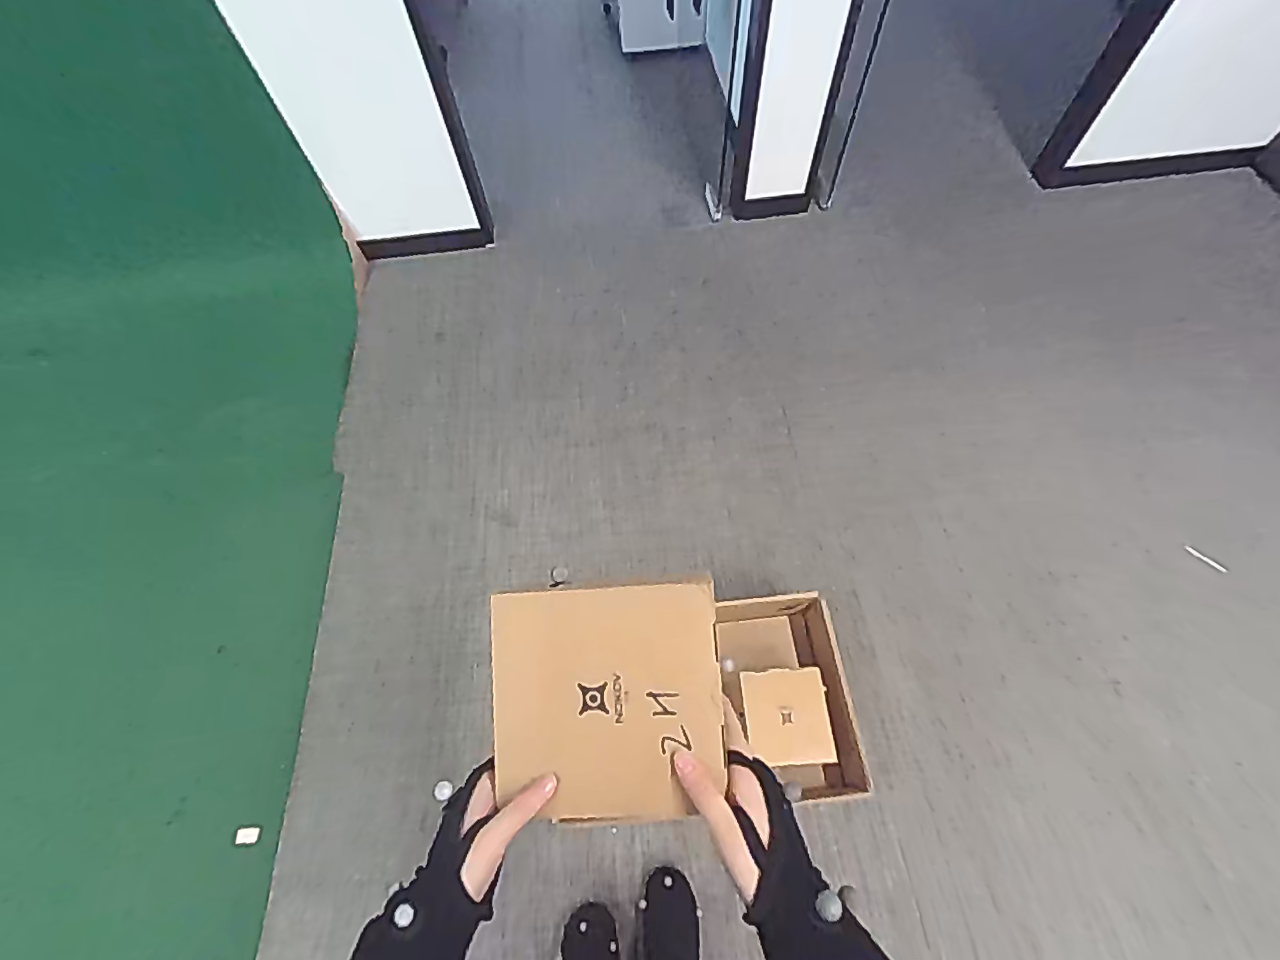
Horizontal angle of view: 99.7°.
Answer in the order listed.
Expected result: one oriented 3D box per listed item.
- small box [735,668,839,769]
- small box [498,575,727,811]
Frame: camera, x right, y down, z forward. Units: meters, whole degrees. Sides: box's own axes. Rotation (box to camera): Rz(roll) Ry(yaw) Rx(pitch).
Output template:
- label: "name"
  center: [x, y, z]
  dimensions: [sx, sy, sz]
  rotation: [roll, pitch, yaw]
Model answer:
- label: "small box"
  center: [0.297, 0.501, 1.133]
  dimensions: [0.168, 0.176, 0.179]
  rotation: [-4, 62, 1]
- label: "small box"
  center: [-0.016, 0.176, 0.493]
  dimensions: [0.179, 0.176, 0.168]
  rotation: [-4, 83, 5]
